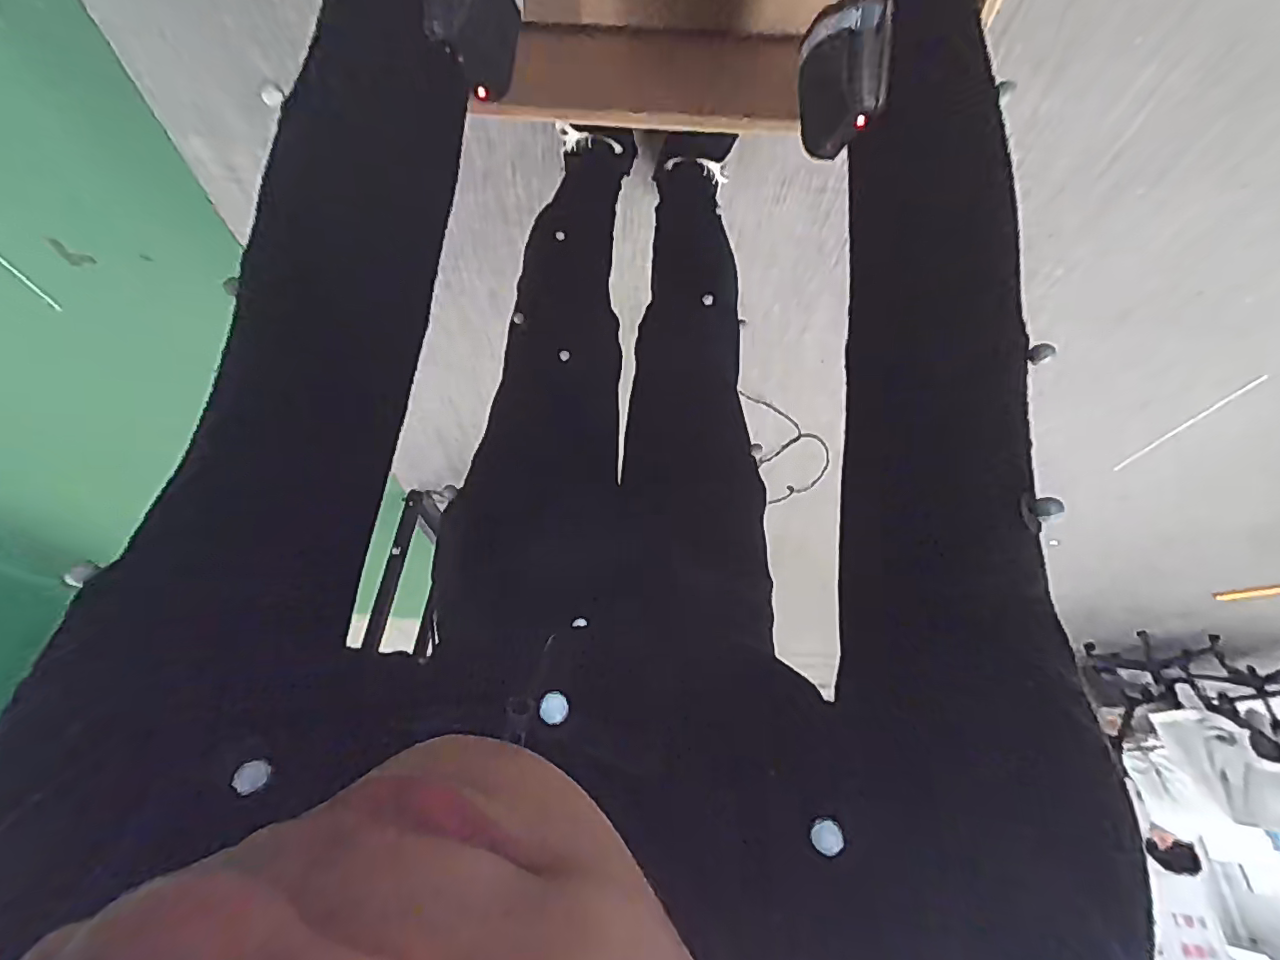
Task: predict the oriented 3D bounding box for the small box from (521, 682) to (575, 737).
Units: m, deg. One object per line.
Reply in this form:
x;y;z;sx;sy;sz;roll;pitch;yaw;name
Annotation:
-0.334;0.847;1.990;0.168;0.176;0.179;3;153;-1;small box
